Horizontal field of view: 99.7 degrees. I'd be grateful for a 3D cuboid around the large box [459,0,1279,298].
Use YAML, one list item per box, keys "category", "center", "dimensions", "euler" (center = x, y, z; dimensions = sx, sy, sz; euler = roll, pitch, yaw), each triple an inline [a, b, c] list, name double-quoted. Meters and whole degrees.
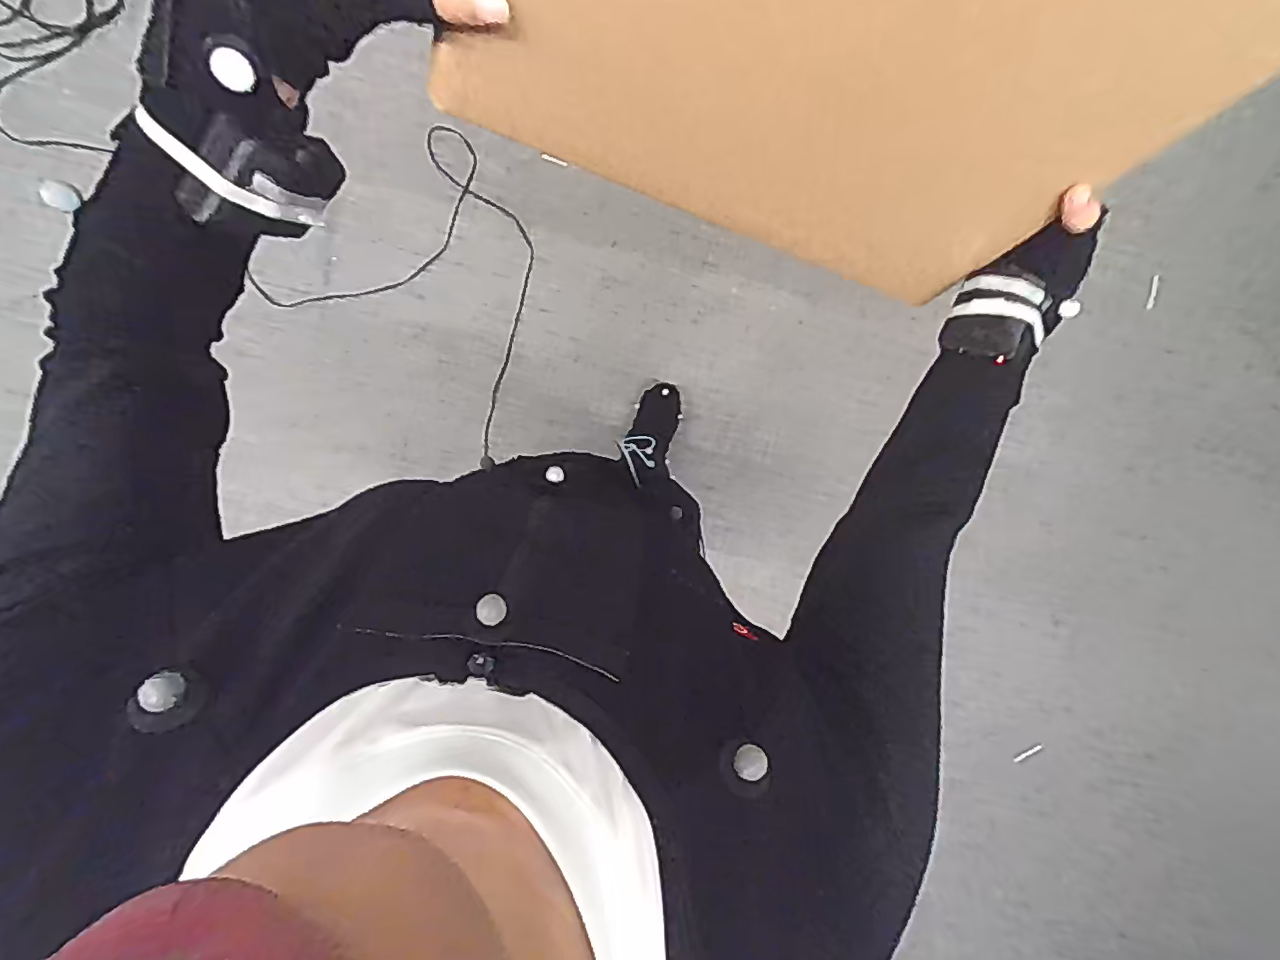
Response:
- category: "large box"
  center: [0.136, -0.366, 0.310]
  dimensions: [0.408, 0.320, 0.320]
  euler: [8, 68, -30]
